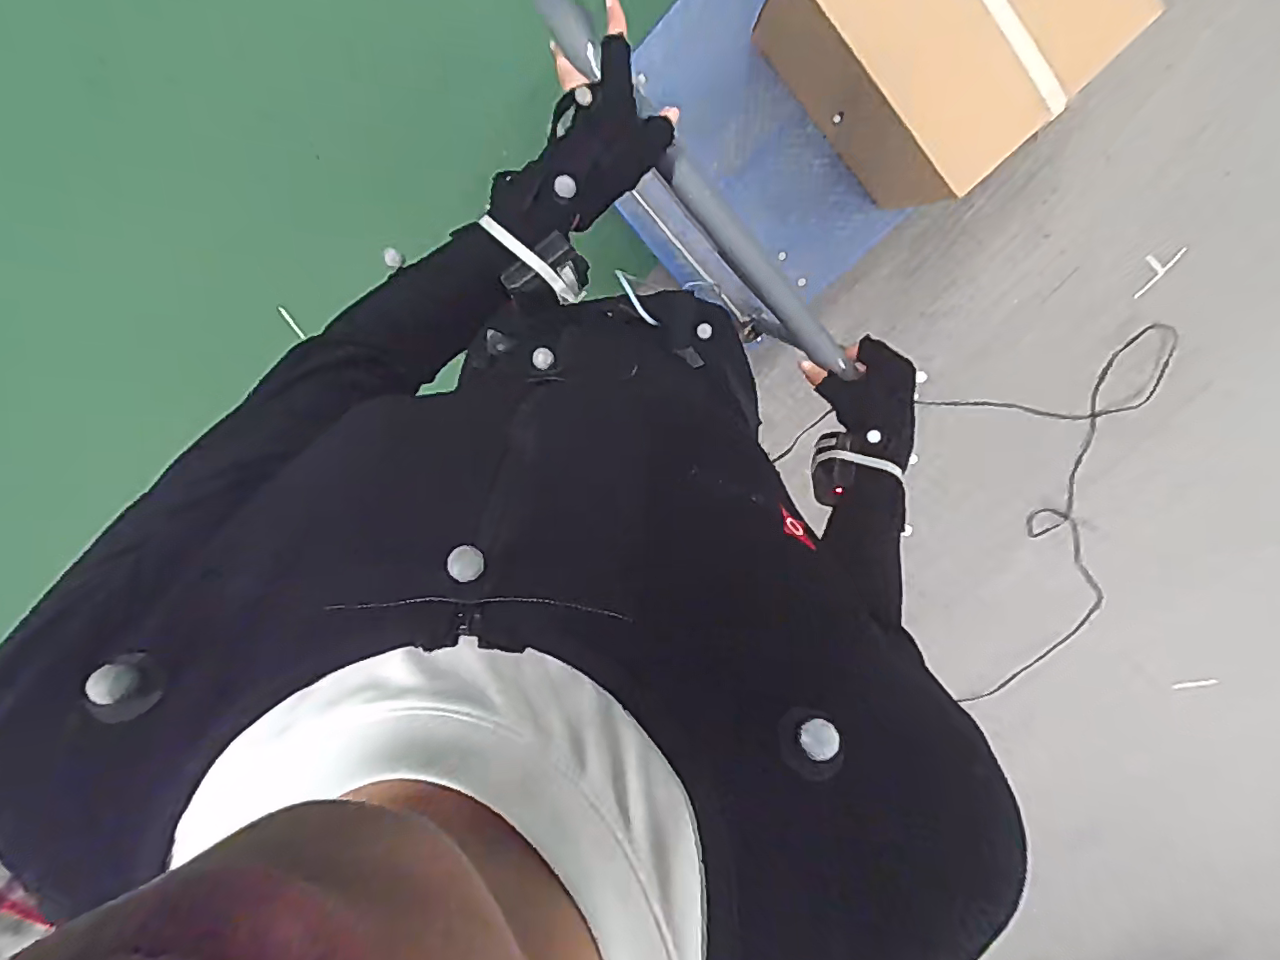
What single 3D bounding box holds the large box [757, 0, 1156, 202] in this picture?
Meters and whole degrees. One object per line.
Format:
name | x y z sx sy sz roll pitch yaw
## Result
large box | 0.448 -0.716 0.850 0.408 0.320 0.320 43 108 -15
